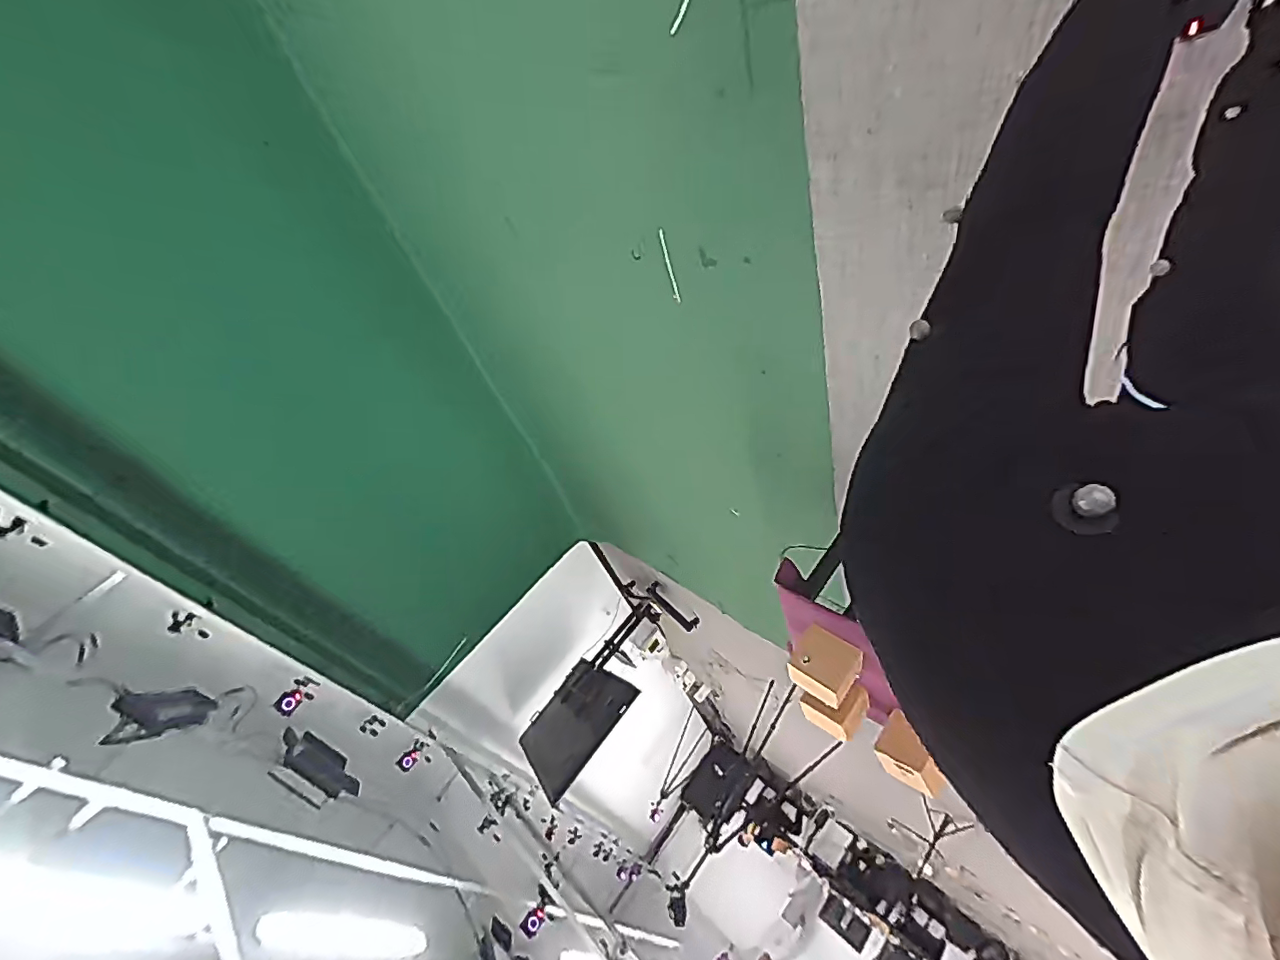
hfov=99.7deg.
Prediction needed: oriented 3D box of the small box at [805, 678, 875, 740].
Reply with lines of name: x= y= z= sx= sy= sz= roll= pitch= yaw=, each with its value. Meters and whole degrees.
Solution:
small box: x=0.741 y=0.811 z=1.997 sx=0.179 sy=0.176 sz=0.168 roll=20 pitch=149 yaw=43

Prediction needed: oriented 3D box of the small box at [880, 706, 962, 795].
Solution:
small box: x=0.936 y=0.892 z=1.798 sx=0.168 sy=0.176 sz=0.179 roll=10 pitch=142 yaw=56

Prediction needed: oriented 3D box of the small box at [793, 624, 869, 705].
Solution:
small box: x=0.629 y=0.601 z=1.785 sx=0.179 sy=0.176 sz=0.168 roll=27 pitch=155 yaw=35
